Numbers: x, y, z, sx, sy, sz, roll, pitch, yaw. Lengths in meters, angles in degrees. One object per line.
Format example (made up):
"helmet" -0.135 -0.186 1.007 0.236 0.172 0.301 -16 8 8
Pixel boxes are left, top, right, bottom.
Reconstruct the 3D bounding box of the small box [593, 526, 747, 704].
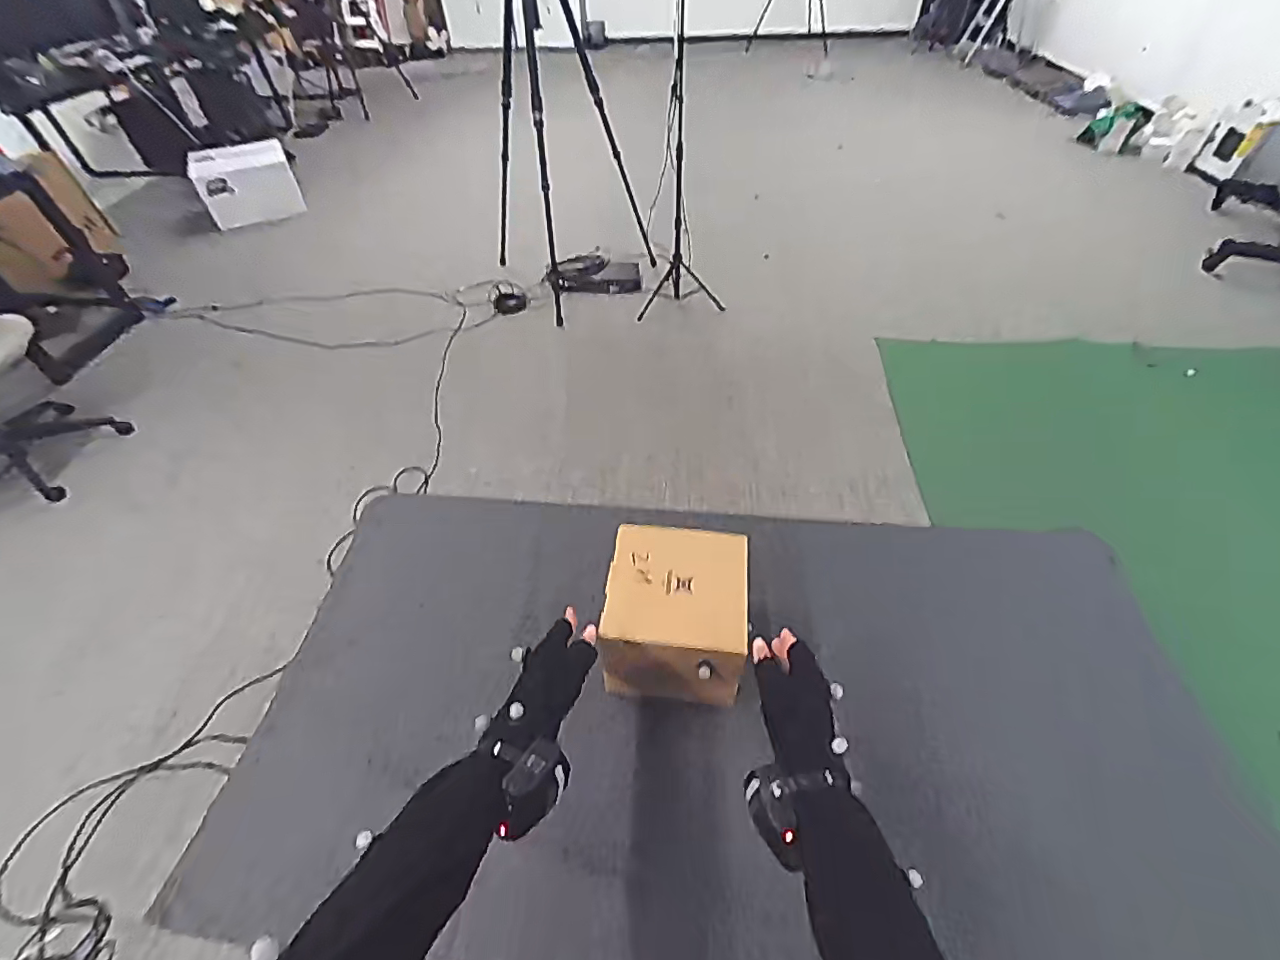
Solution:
"small box" 0.044 0.185 0.729 0.179 0.176 0.168 5 48 7
